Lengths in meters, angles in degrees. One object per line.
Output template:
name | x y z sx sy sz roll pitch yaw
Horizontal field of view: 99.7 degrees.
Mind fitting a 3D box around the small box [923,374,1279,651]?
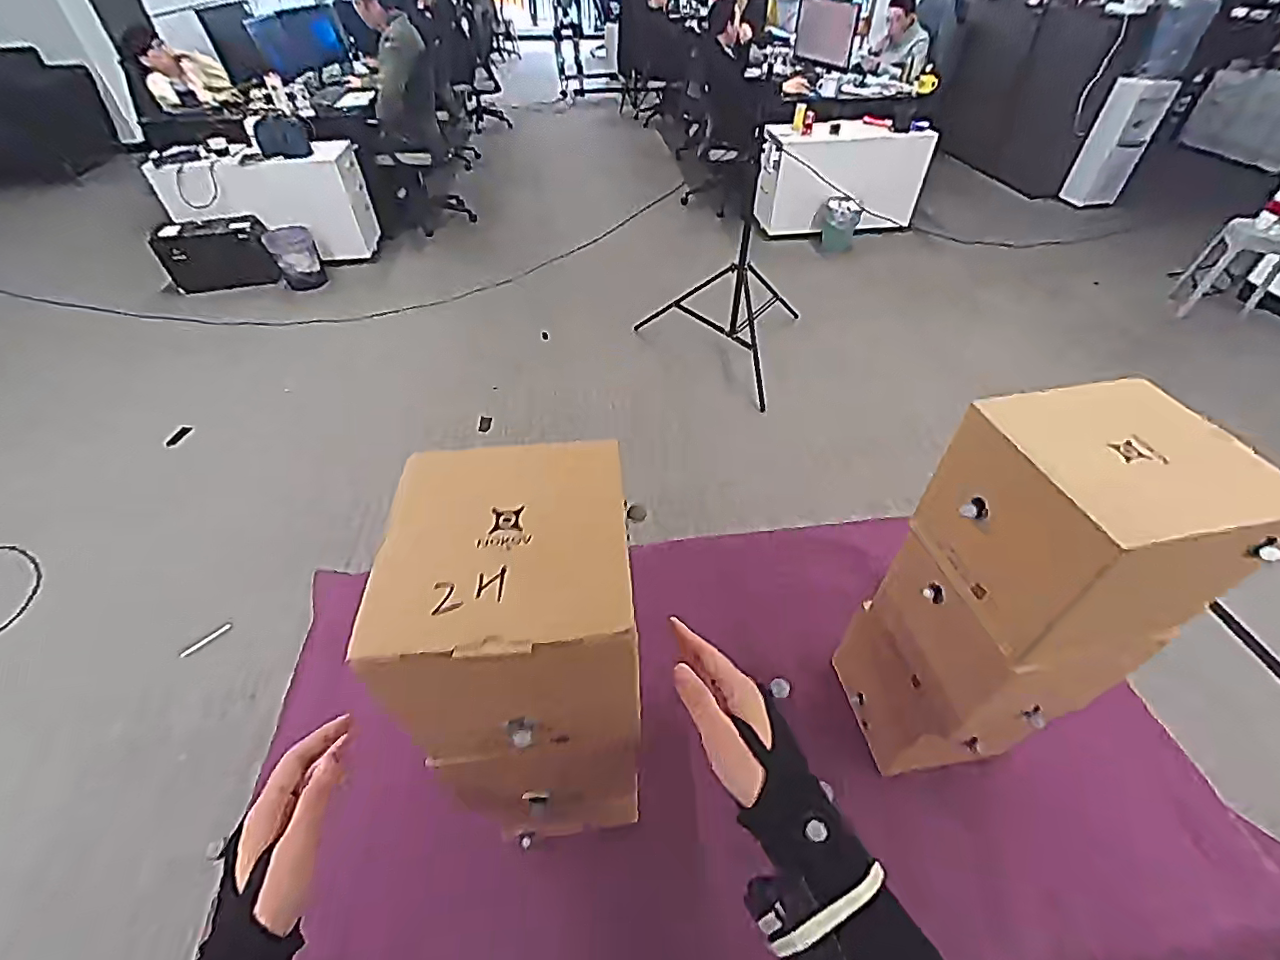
small box | 0.384 0.031 0.480 0.179 0.176 0.168 -9 46 -8

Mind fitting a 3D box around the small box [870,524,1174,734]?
small box | 0.387 0.151 0.590 0.179 0.176 0.168 -9 45 -9

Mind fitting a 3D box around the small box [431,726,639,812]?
small box | -0.092 0.205 0.542 0.168 0.176 0.179 -5 46 -4

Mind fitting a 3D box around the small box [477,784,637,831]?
small box | -0.094 0.311 0.666 0.168 0.176 0.179 -6 45 -5

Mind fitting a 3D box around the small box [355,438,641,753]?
small box | -0.088 0.089 0.425 0.168 0.176 0.179 -5 45 -3
